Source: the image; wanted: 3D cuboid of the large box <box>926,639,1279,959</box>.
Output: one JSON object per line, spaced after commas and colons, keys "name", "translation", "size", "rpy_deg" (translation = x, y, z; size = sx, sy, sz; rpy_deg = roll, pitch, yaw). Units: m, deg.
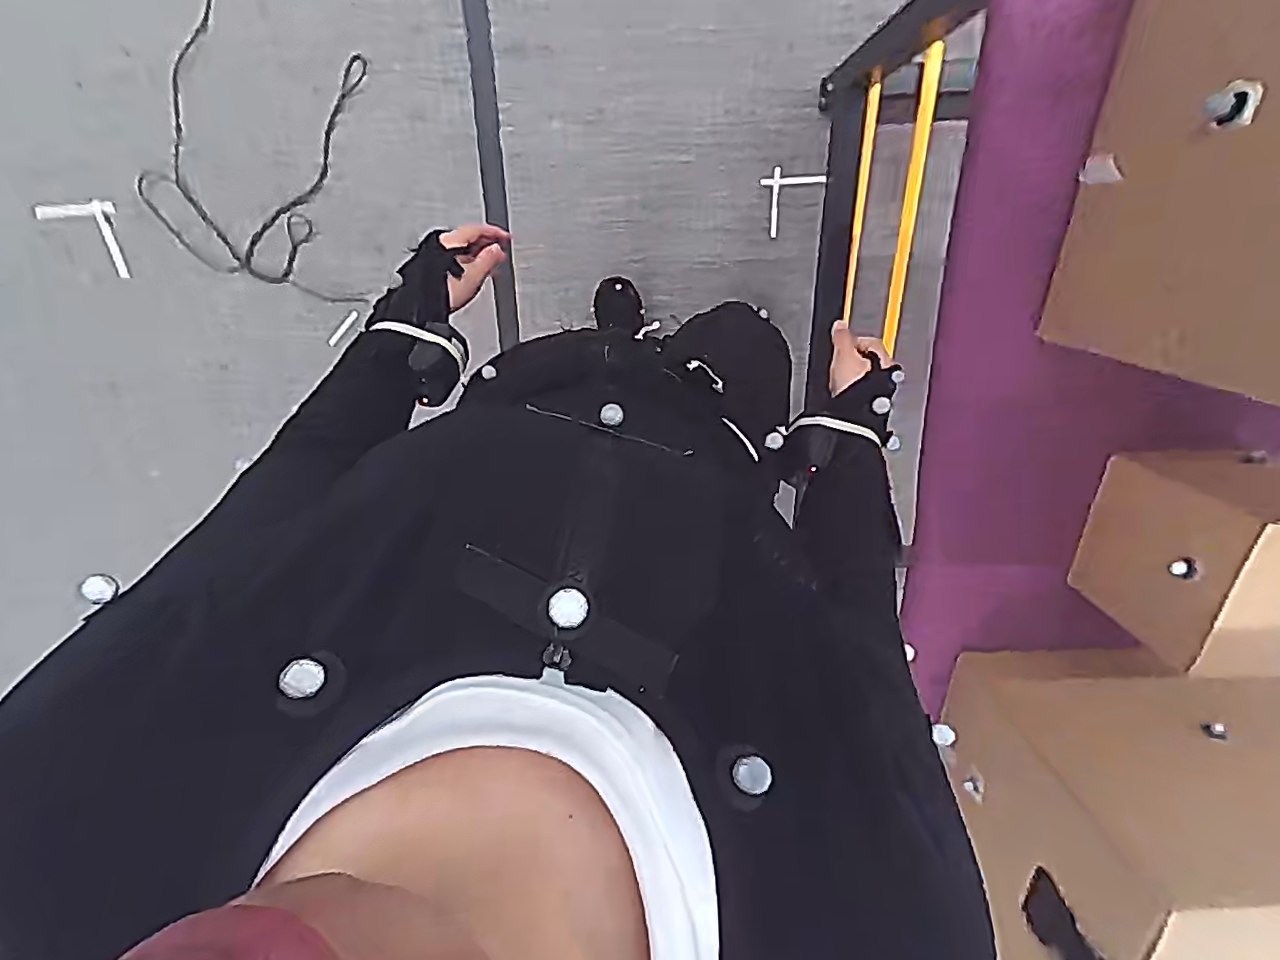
{"name": "large box", "translation": [0.624, 0.414, 0.635], "size": [0.408, 0.320, 0.320], "rpy_deg": [-2, 113, -1]}
